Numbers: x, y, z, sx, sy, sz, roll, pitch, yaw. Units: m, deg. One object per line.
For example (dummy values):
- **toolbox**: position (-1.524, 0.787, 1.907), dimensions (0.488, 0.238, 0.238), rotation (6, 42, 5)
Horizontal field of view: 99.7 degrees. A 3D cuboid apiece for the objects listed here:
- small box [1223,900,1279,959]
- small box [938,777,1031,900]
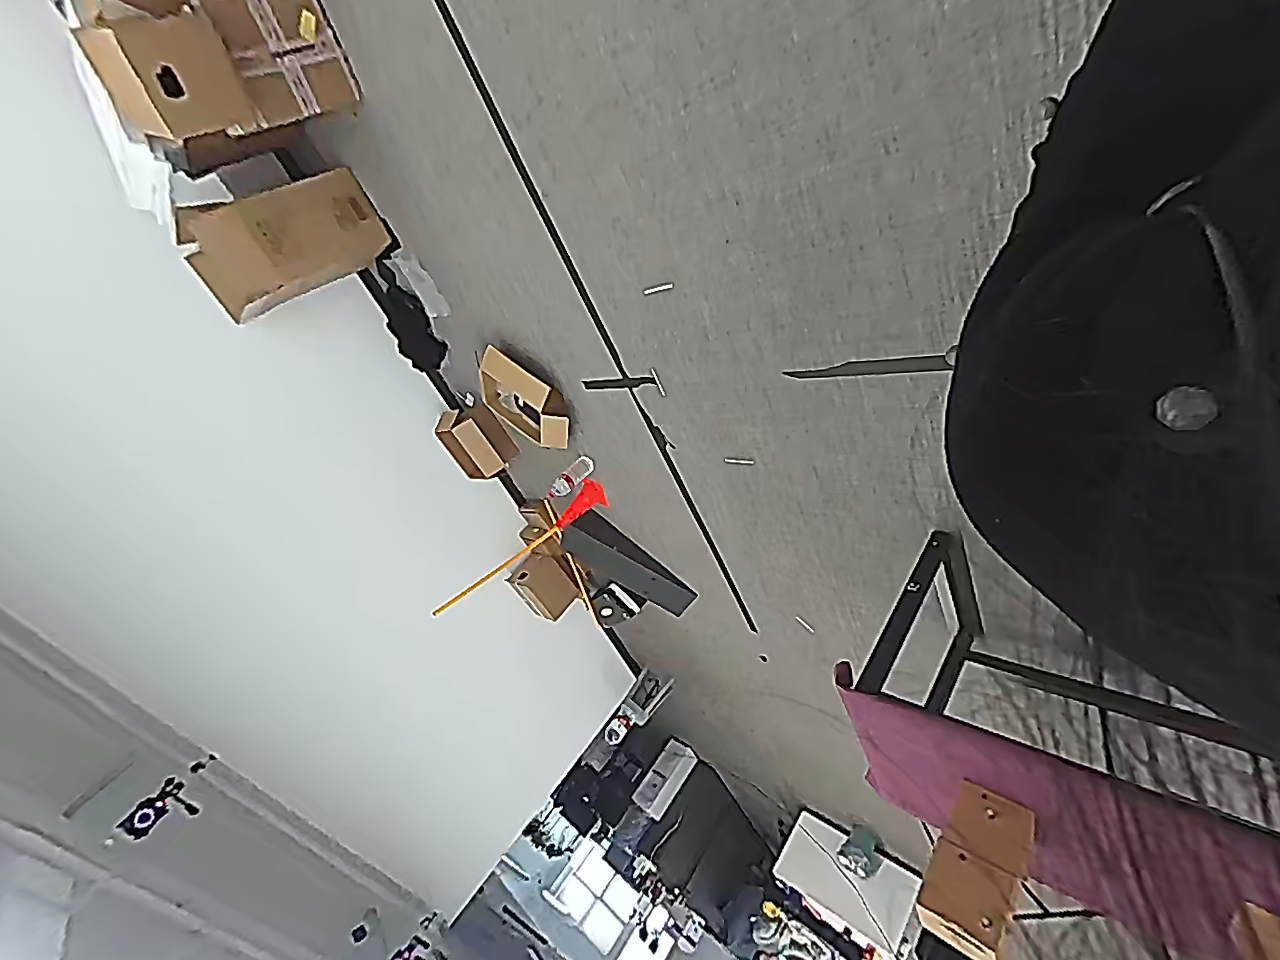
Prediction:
- **small box**: position (1.215, 0.937, 1.005), dimensions (0.168, 0.176, 0.179), rotation (8, 135, 46)
- **small box**: position (0.880, 0.908, 1.380), dimensions (0.168, 0.176, 0.179), rotation (12, 137, 43)
